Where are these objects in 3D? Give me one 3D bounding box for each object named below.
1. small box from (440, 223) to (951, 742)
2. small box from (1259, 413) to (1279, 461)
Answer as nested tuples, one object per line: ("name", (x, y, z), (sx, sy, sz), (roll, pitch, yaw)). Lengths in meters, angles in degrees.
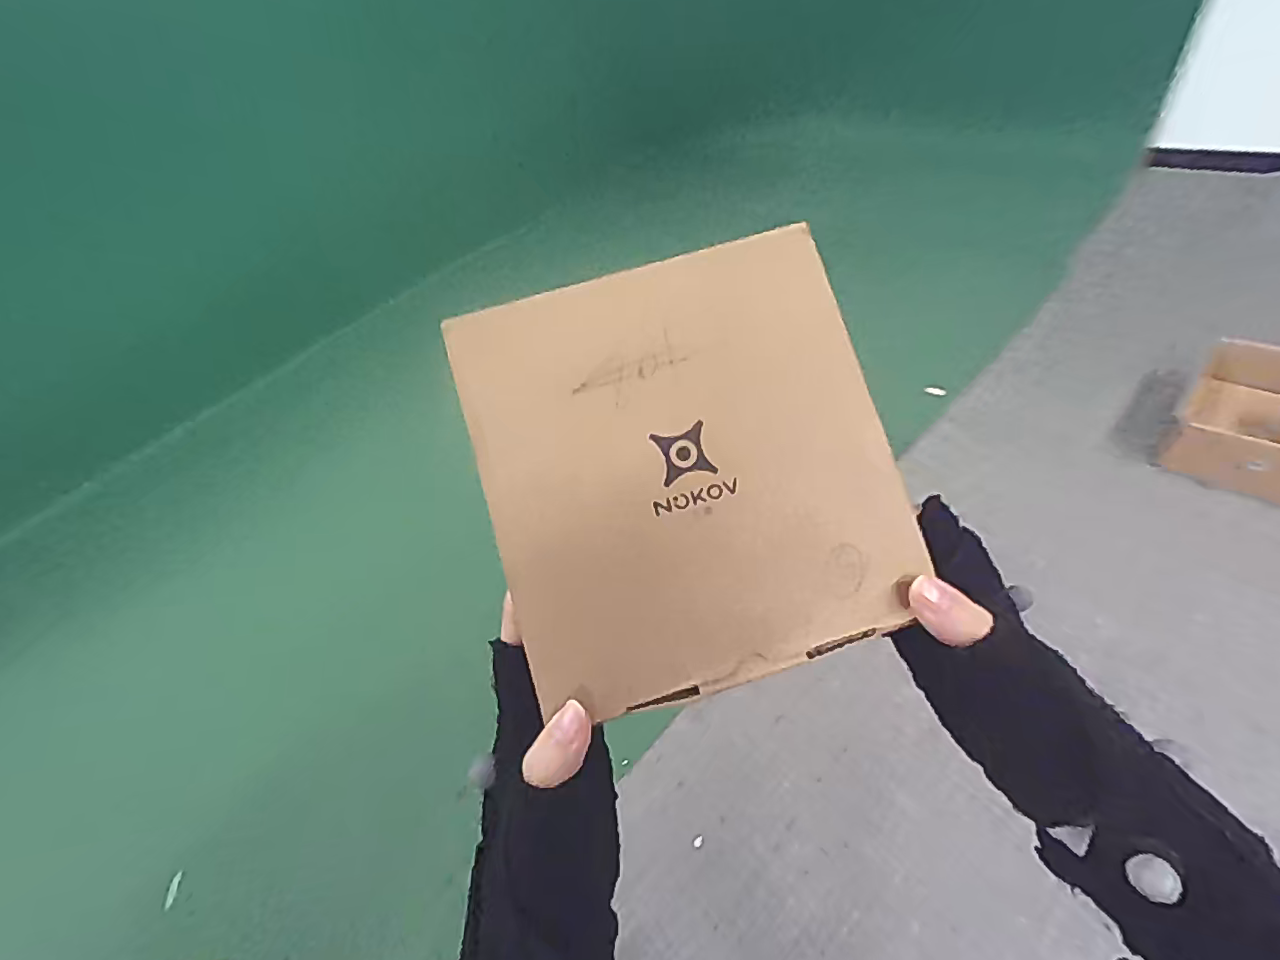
("small box", (0.021, 0.005, 0.300), (0.168, 0.176, 0.179), (-20, 83, -2))
("small box", (1.724, -0.135, 1.345), (0.179, 0.176, 0.168), (29, 63, 37))
